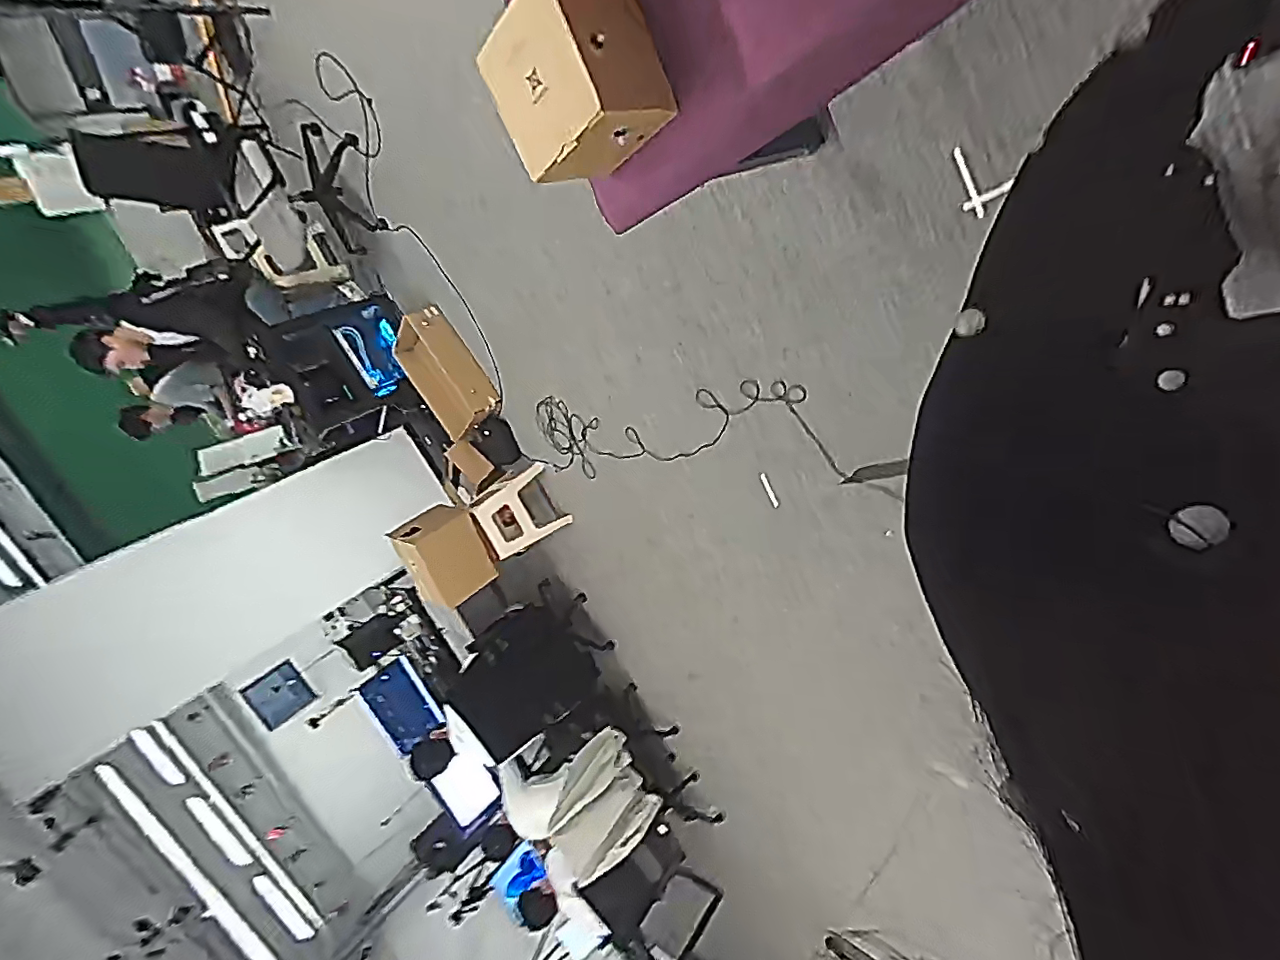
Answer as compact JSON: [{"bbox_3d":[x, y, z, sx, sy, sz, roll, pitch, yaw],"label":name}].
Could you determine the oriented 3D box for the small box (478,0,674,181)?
[{"bbox_3d":[-0.082,-0.549,0.745,0.168,0.176,0.179,-13,106,47],"label":"small box"}]
